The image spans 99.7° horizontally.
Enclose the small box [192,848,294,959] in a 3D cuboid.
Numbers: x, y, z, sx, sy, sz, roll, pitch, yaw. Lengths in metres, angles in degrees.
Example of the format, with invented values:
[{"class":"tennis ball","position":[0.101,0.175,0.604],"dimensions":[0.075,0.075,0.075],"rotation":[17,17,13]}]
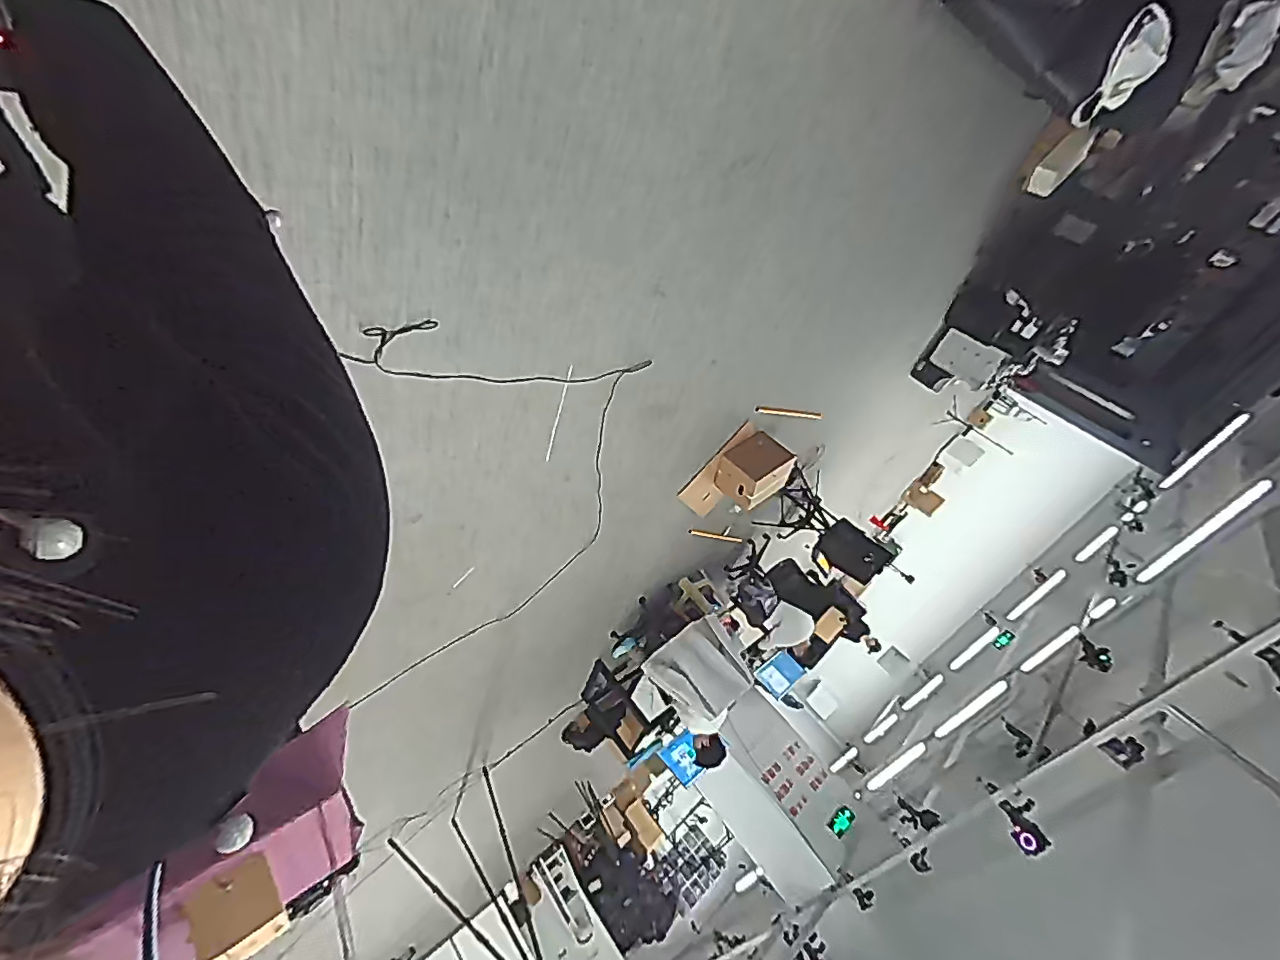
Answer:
[{"class":"small box","position":[-1.015,1.099,1.383],"dimensions":[0.179,0.176,0.168],"rotation":[-18,142,-41]}]
